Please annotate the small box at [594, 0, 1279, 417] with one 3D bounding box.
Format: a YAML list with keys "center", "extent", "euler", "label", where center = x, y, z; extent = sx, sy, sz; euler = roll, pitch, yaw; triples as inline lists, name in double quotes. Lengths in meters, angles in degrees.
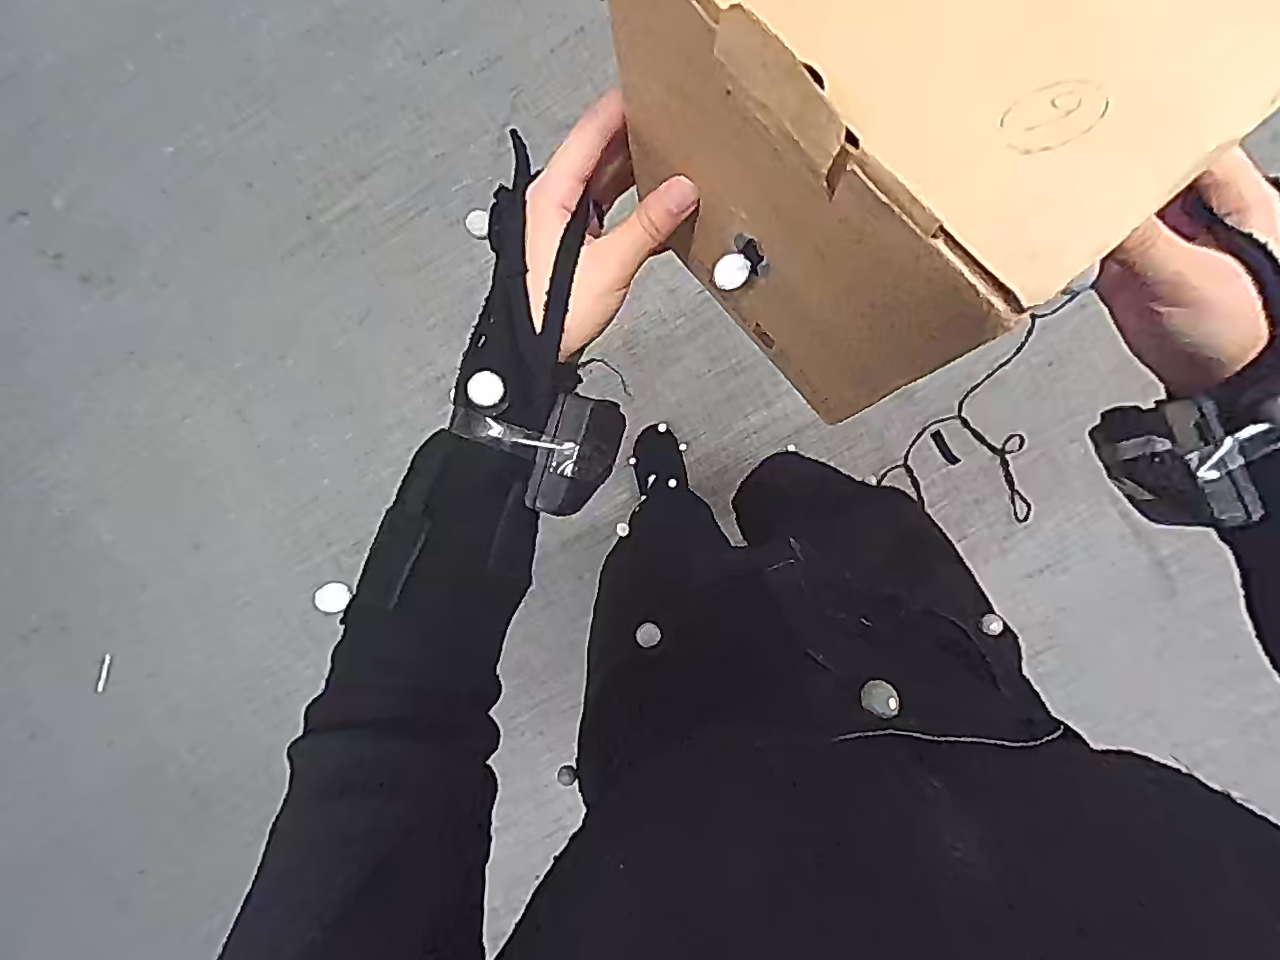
- center: [0.109, -0.147, 0.223]
  extent: [0.179, 0.176, 0.168]
  euler: [-41, 84, 3]
  label: "small box"
